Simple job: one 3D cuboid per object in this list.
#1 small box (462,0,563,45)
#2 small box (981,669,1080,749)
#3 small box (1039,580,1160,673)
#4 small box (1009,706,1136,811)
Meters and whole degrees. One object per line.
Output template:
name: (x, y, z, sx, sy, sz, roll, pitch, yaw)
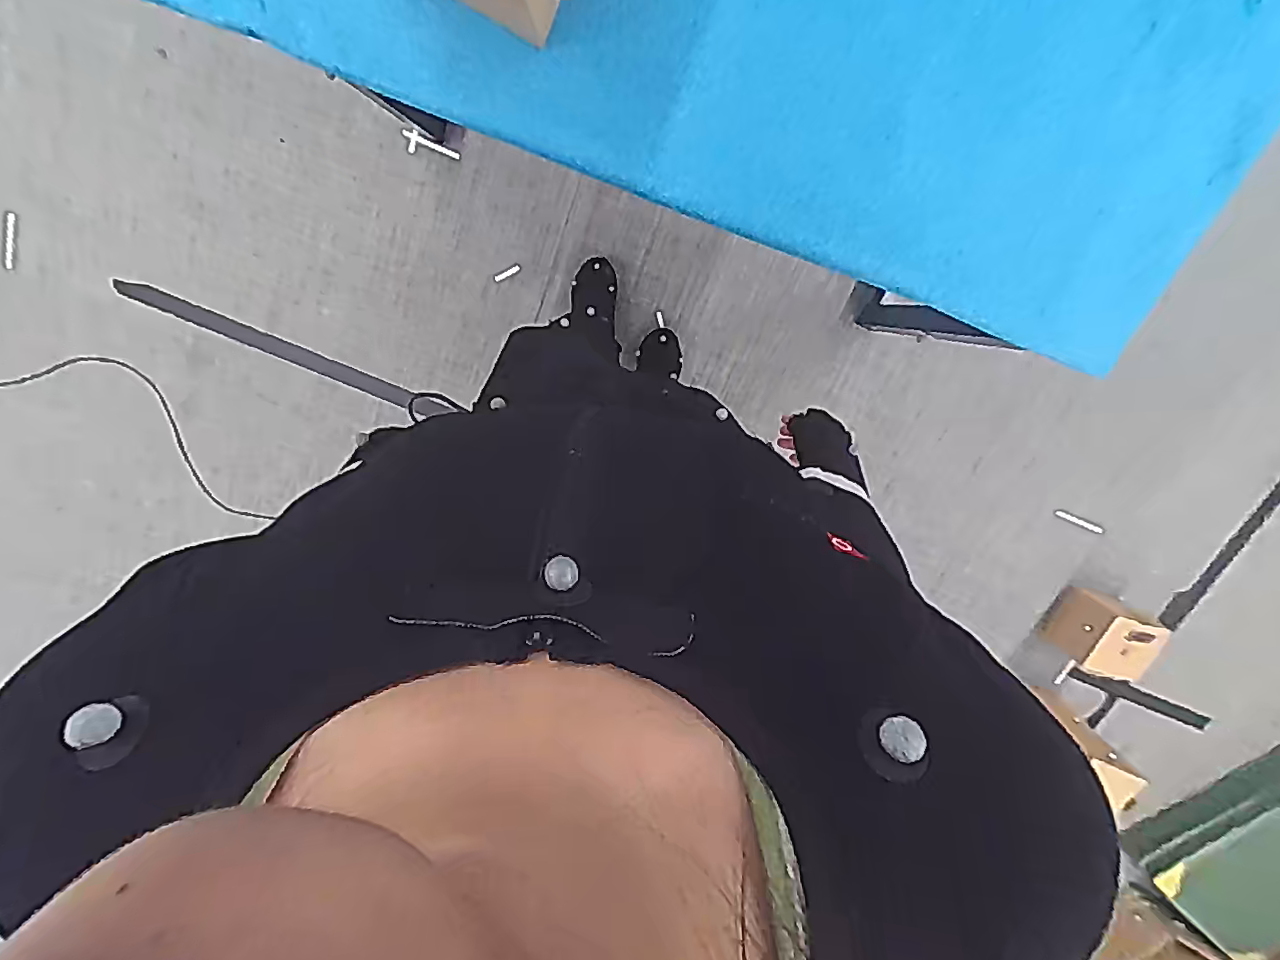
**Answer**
small box: (-0.138, -0.547, 0.470, 0.168, 0.176, 0.179, 25, 108, -8)
small box: (1.195, 0.724, 1.662, 0.168, 0.176, 0.179, 25, 109, -8)
small box: (1.303, 0.413, 1.550, 0.168, 0.176, 0.179, 17, 109, -4)
small box: (1.192, 0.768, 1.505, 0.179, 0.176, 0.168, 25, 107, -6)
